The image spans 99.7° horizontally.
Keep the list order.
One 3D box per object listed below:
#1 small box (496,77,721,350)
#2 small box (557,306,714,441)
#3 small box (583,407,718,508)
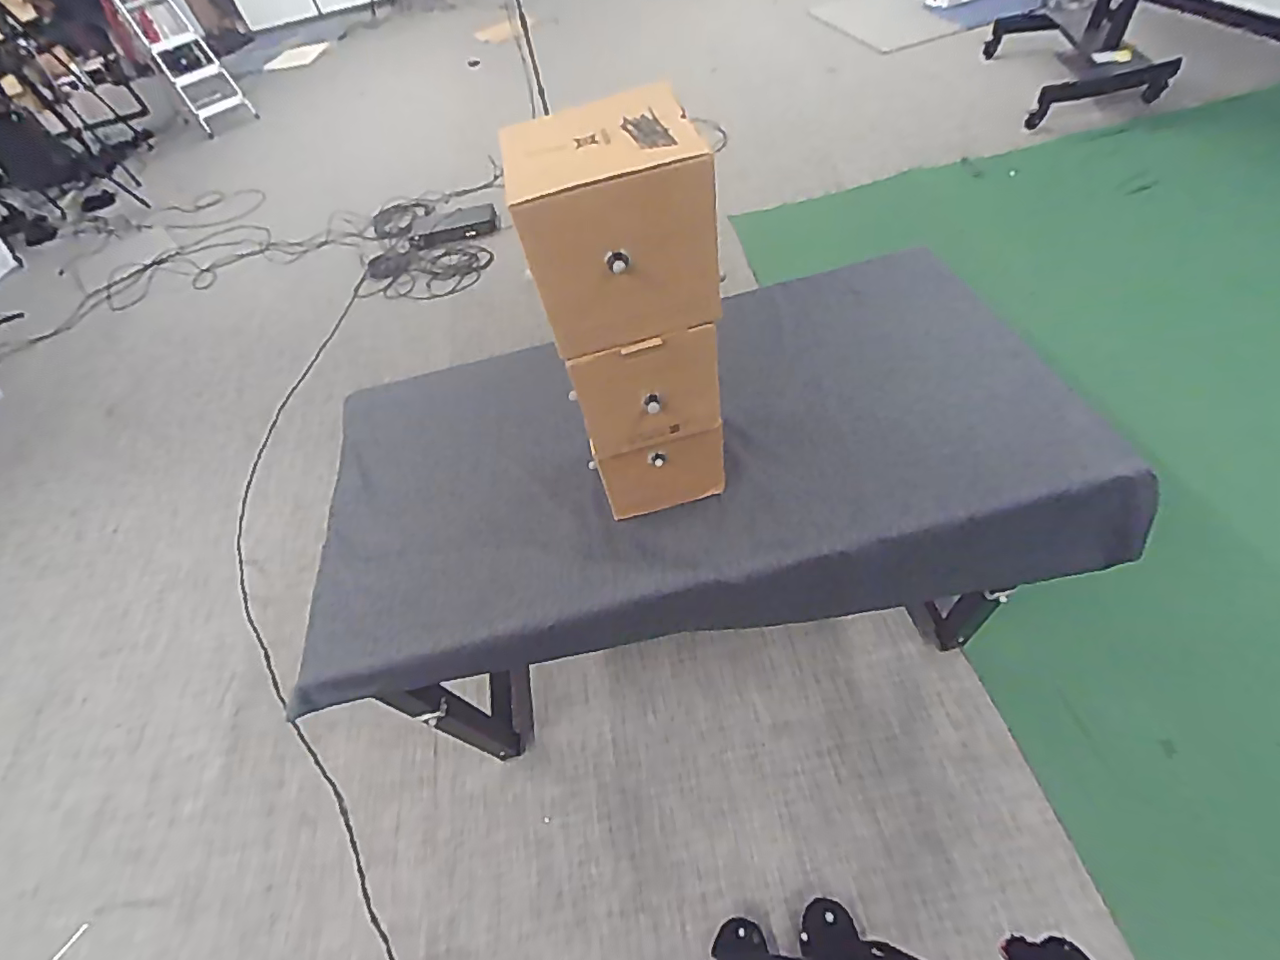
[{"bbox_3d":[-0.028,-0.260,0.541,0.179,0.176,0.168,-16,54,-2],"label":"small box"},{"bbox_3d":[-0.009,-0.167,0.677,0.168,0.176,0.179,-15,55,0],"label":"small box"},{"bbox_3d":[0.013,-0.078,0.812,0.179,0.176,0.168,-14,54,-1],"label":"small box"}]
